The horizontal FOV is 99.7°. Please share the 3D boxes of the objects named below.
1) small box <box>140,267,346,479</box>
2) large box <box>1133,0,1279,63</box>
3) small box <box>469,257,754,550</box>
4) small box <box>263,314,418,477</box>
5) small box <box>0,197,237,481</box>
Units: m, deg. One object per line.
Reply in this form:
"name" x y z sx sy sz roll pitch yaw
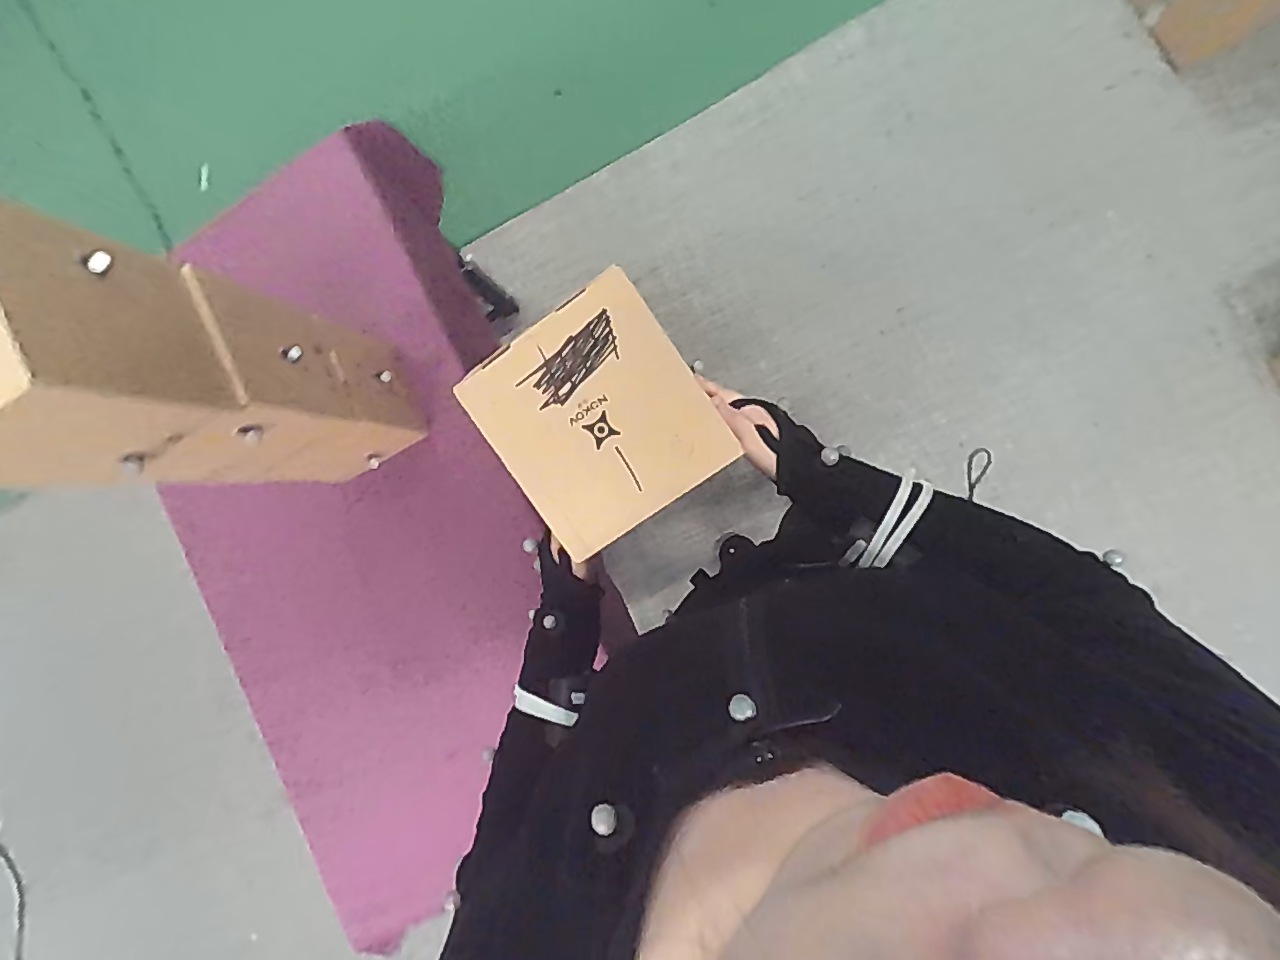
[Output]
"small box" -0.487 -0.111 0.640 0.179 0.176 0.168 -28 85 9
"large box" 1.396 -1.238 1.165 0.408 0.320 0.320 -27 85 7
"small box" -0.018 -0.066 0.500 0.168 0.176 0.179 -33 95 10
"small box" -0.460 -0.114 0.803 0.179 0.176 0.168 -27 85 8
"small box" -0.518 -0.106 0.479 0.168 0.176 0.179 -28 86 10
